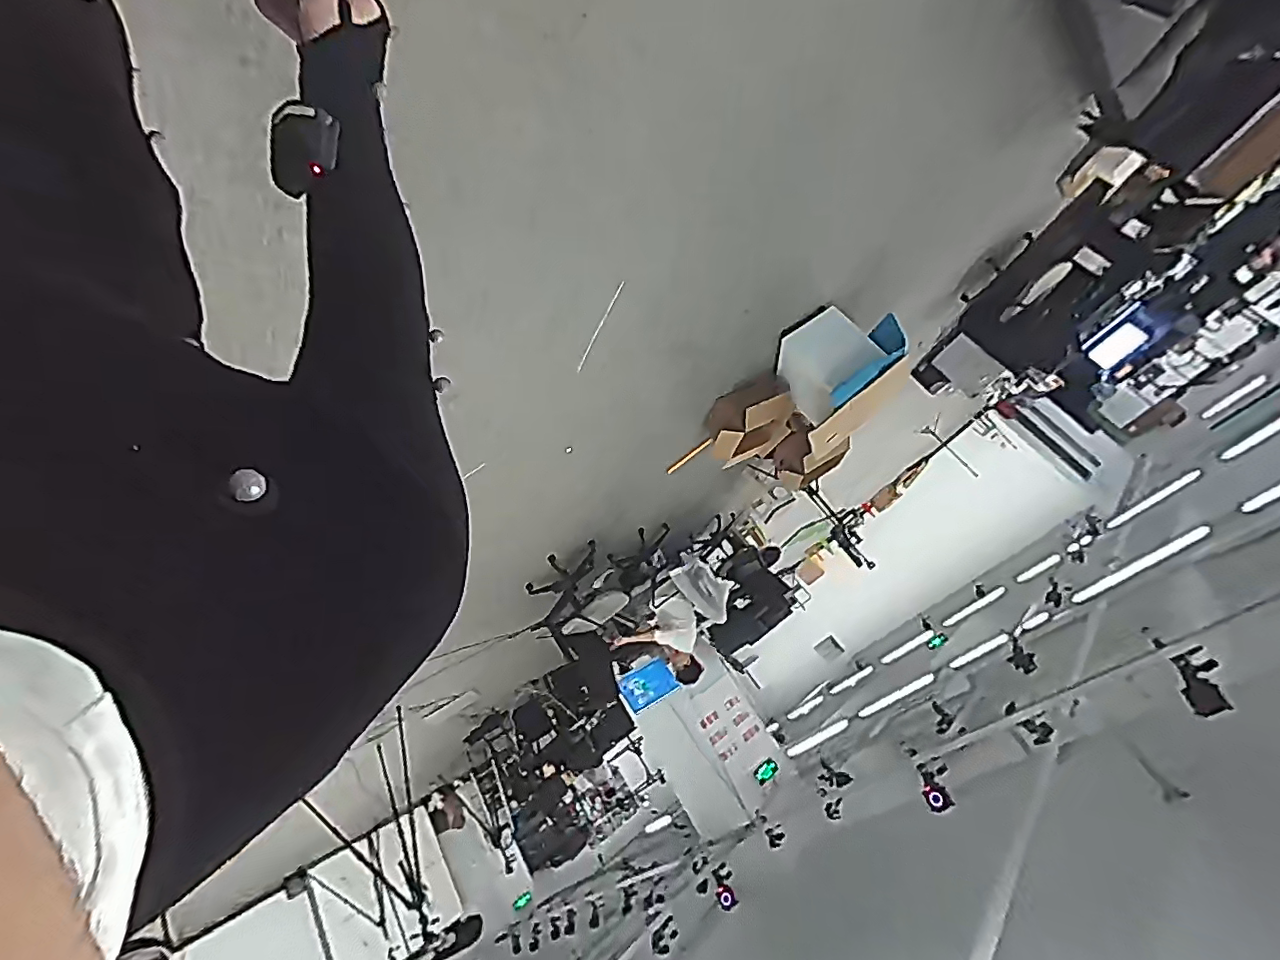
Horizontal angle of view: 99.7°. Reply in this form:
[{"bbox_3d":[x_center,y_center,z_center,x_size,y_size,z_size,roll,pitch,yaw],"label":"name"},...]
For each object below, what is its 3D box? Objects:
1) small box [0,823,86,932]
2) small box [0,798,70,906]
[{"bbox_3d":[-1.661,1.086,1.488,0.168,0.176,0.179,-12,146,-44],"label":"small box"},{"bbox_3d":[-1.542,0.919,1.327,0.168,0.176,0.179,-14,150,-43],"label":"small box"}]
